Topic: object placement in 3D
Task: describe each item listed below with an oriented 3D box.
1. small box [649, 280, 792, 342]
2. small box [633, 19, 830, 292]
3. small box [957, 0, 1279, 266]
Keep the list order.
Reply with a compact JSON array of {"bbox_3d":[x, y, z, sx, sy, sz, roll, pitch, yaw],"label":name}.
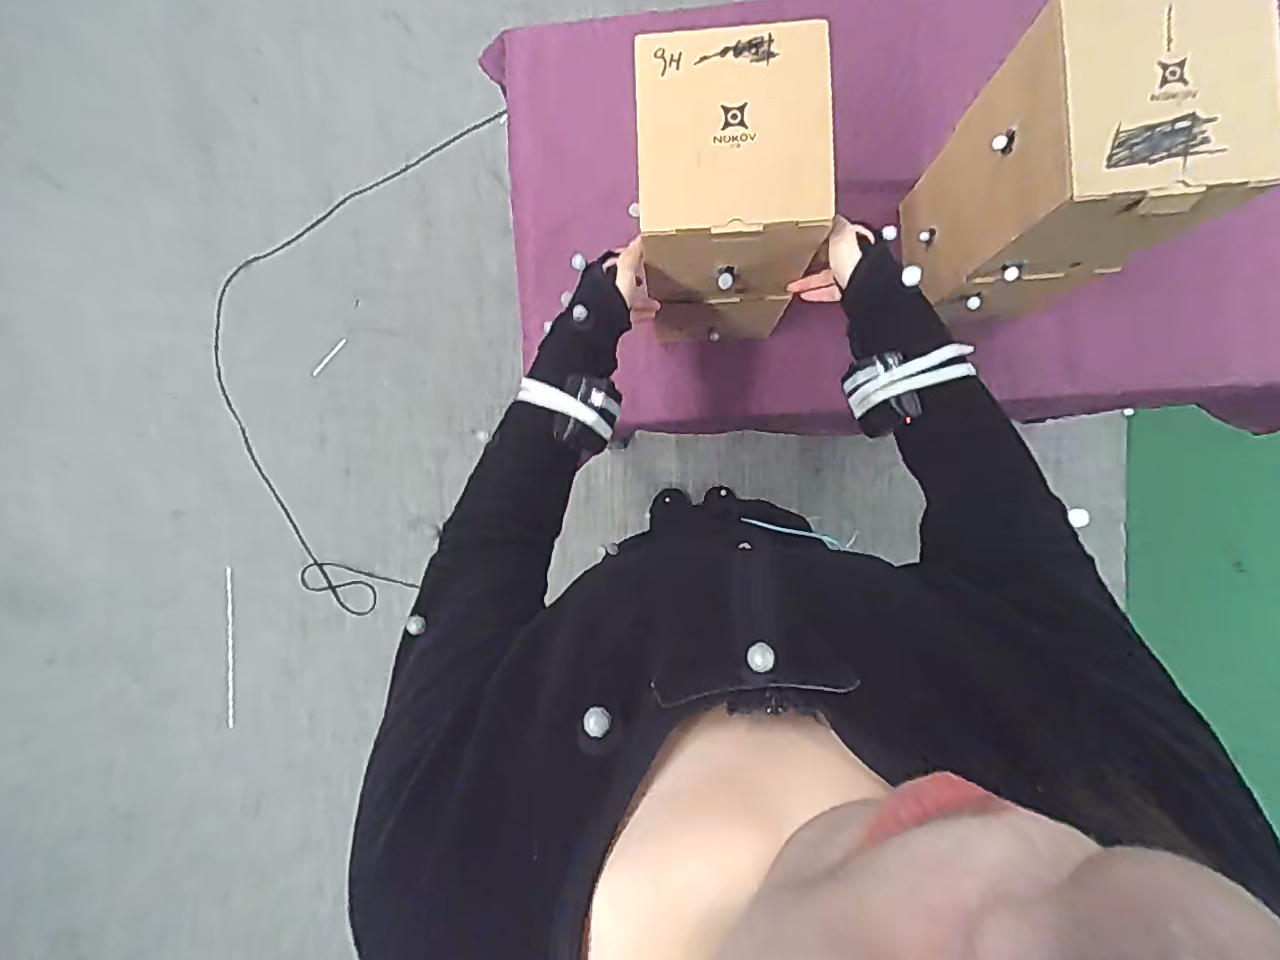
[{"bbox_3d":[0.096,-0.291,0.702,0.168,0.176,0.179,-2,89,5],"label":"small box"},{"bbox_3d":[0.083,-0.297,0.538,0.168,0.176,0.179,-2,90,4],"label":"small box"},{"bbox_3d":[0.428,-0.318,0.512,0.168,0.176,0.179,-3,88,4],"label":"small box"}]
